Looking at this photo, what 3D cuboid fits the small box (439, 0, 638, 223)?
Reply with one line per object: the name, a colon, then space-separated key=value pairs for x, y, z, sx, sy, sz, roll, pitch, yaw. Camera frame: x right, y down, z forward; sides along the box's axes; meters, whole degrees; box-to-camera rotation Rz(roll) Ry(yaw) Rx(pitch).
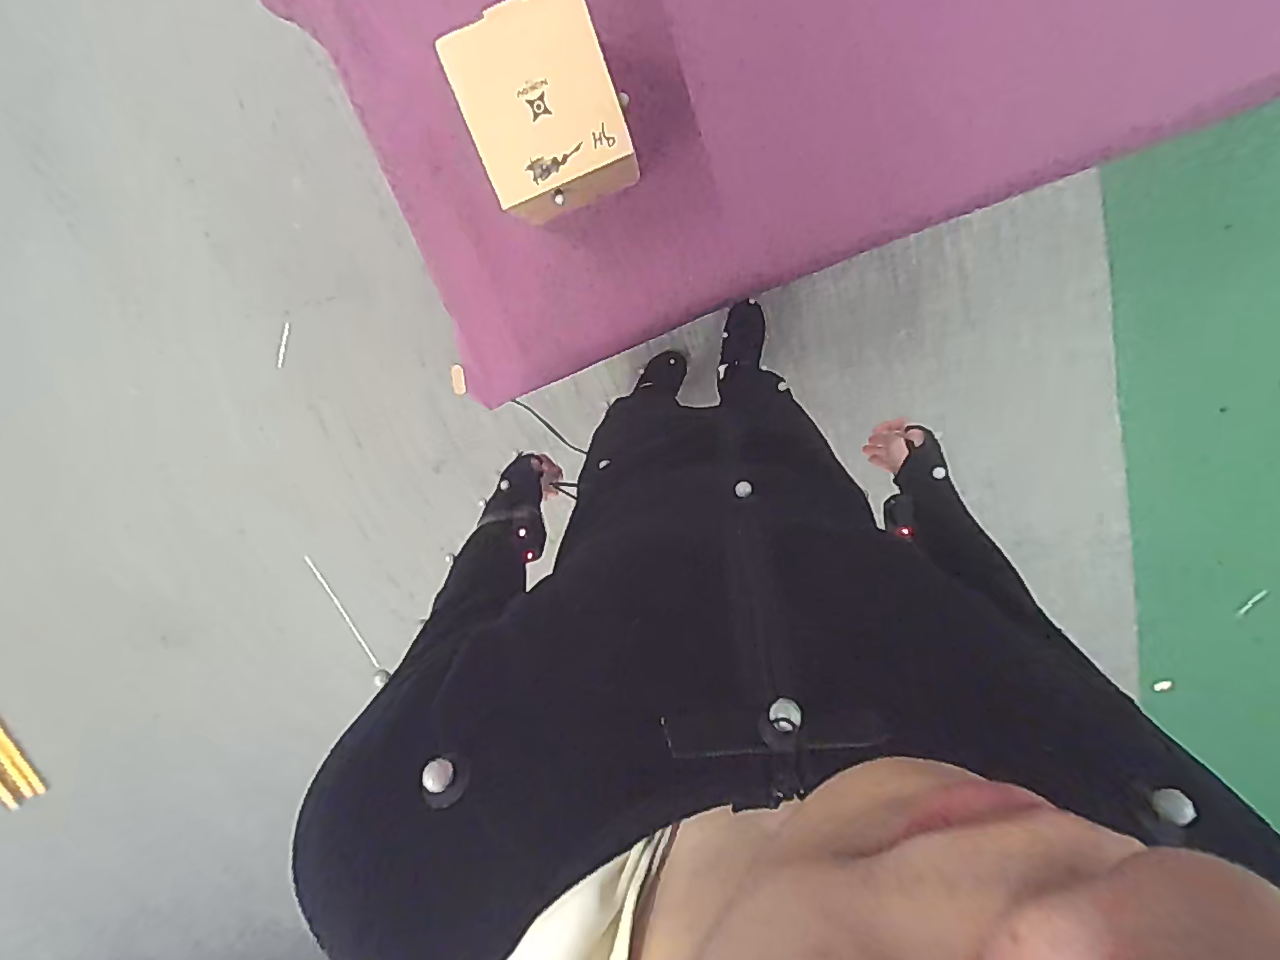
small box: x=-0.108 y=-0.441 z=0.661 sx=0.168 sy=0.176 sz=0.179 roll=-19 pitch=107 yaw=9
